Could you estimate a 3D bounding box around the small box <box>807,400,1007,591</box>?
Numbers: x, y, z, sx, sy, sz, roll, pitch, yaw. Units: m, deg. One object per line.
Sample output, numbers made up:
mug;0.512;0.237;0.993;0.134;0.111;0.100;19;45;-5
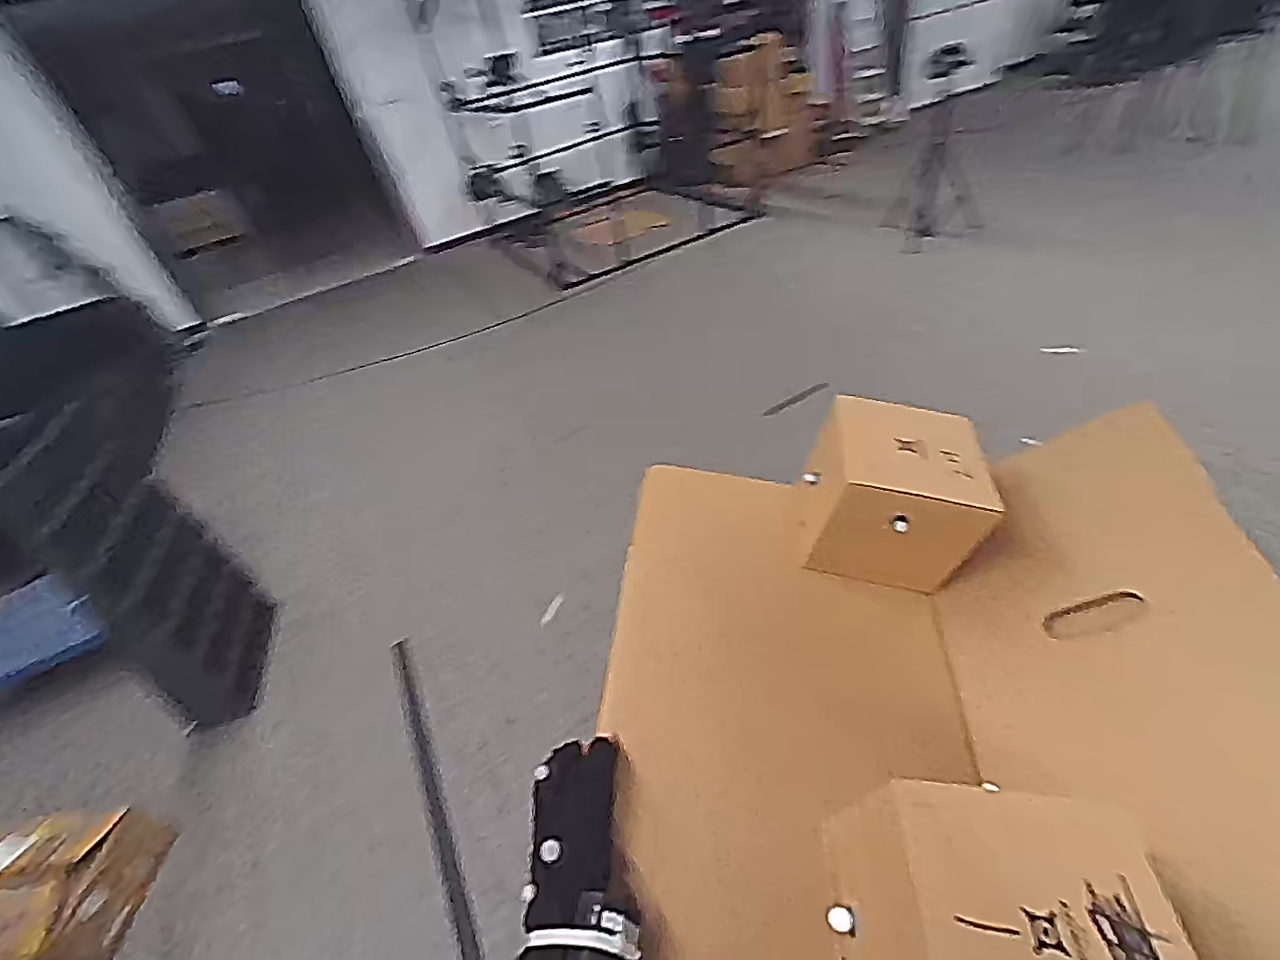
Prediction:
small box;0.325;0.024;0.705;0.179;0.176;0.168;12;47;4
